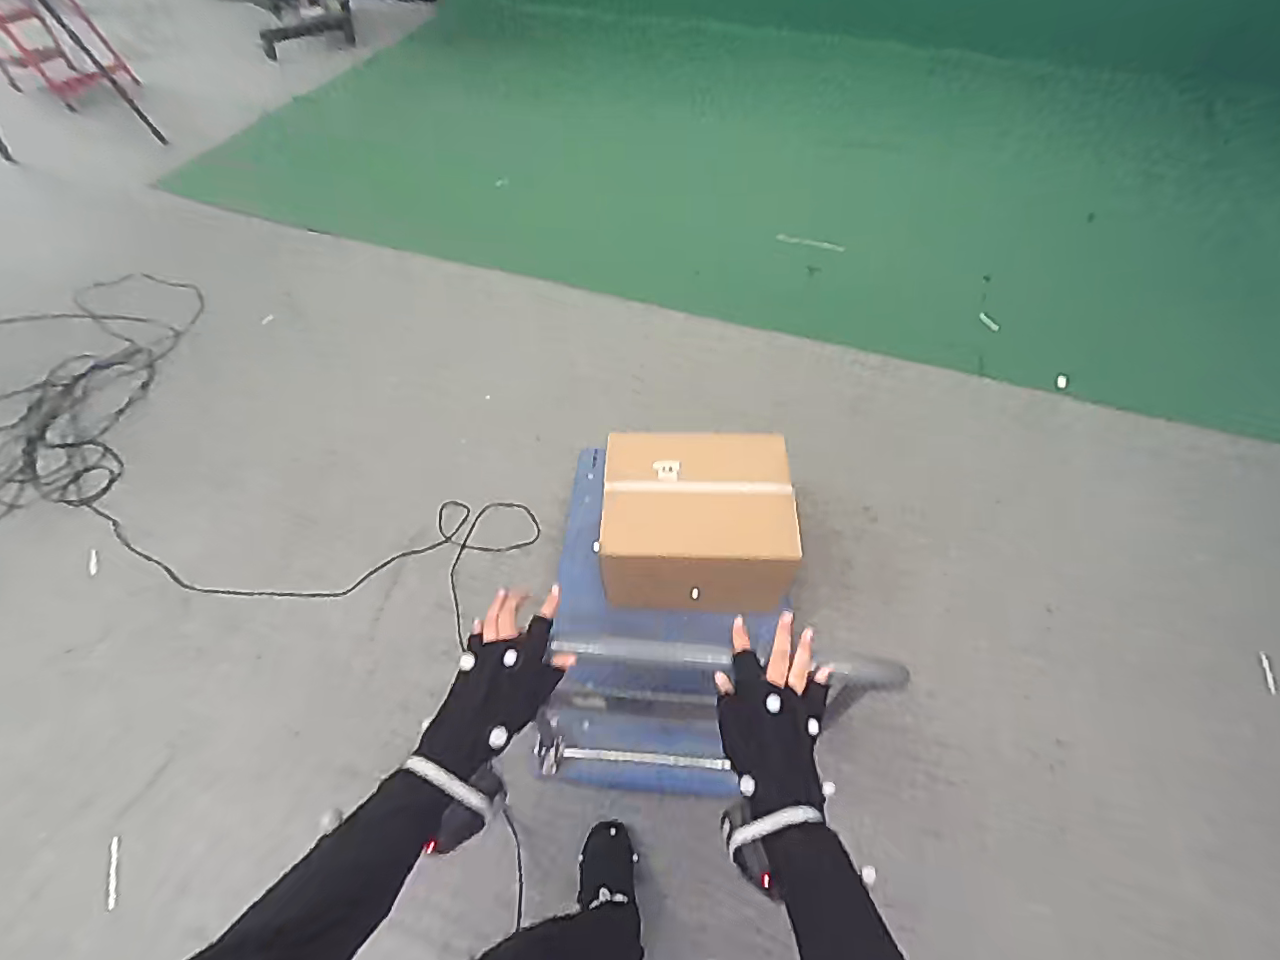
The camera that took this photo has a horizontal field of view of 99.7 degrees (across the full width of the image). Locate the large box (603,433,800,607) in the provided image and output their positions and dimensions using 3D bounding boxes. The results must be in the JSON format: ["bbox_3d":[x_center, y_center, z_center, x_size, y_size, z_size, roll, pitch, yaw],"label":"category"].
[{"bbox_3d":[0.129,0.105,1.287,0.408,0.320,0.320,0,55,2],"label":"large box"}]
